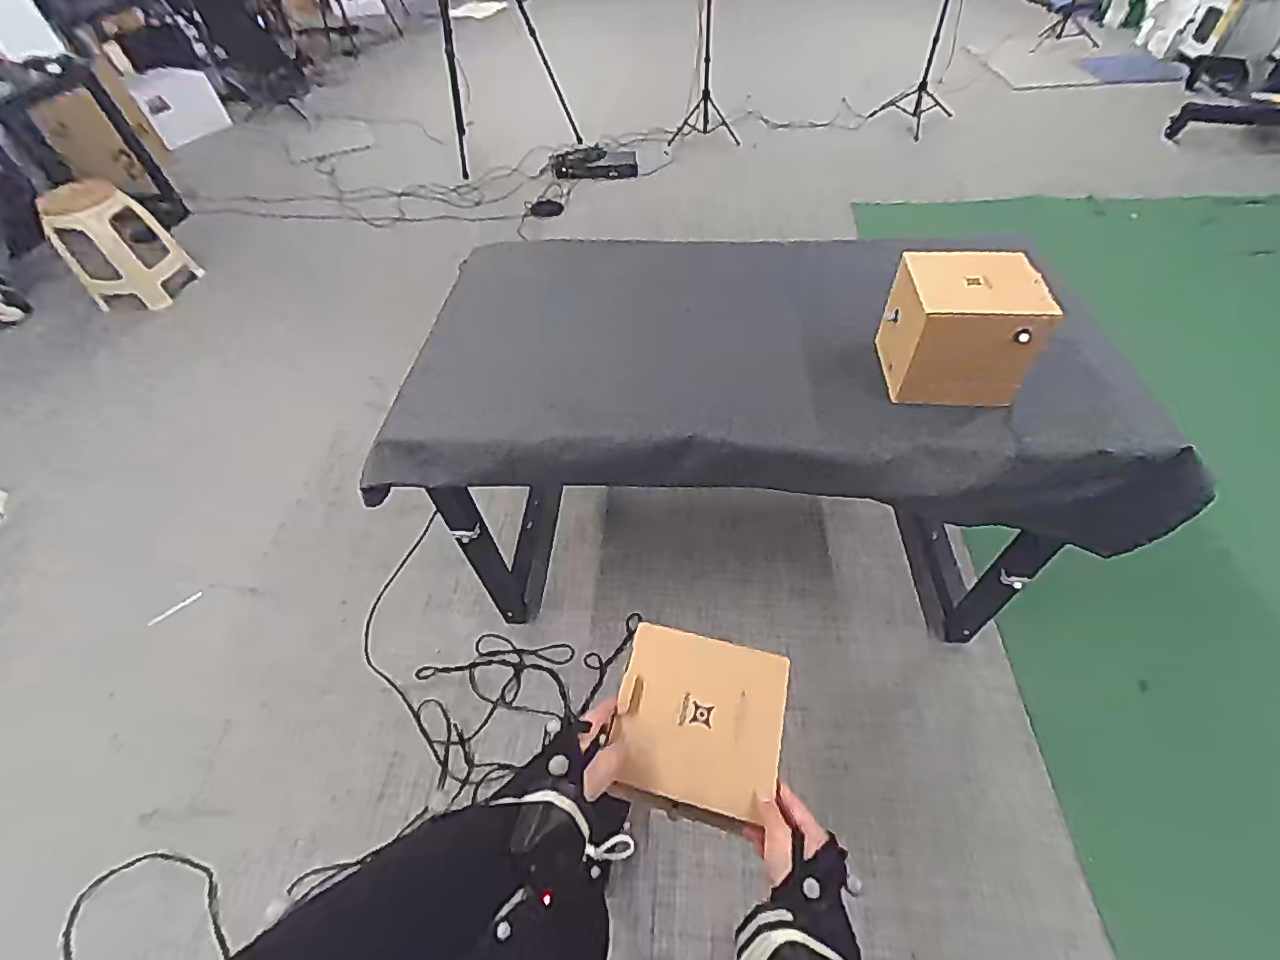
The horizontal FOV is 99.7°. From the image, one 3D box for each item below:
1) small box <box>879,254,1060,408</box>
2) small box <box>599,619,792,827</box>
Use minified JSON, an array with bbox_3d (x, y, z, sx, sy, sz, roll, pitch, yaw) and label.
[{"bbox_3d":[0.482,-0.226,0.830,0.179,0.176,0.168,3,51,6],"label":"small box"},{"bbox_3d":[0.065,0.286,0.628,0.179,0.176,0.168,11,56,10],"label":"small box"}]
